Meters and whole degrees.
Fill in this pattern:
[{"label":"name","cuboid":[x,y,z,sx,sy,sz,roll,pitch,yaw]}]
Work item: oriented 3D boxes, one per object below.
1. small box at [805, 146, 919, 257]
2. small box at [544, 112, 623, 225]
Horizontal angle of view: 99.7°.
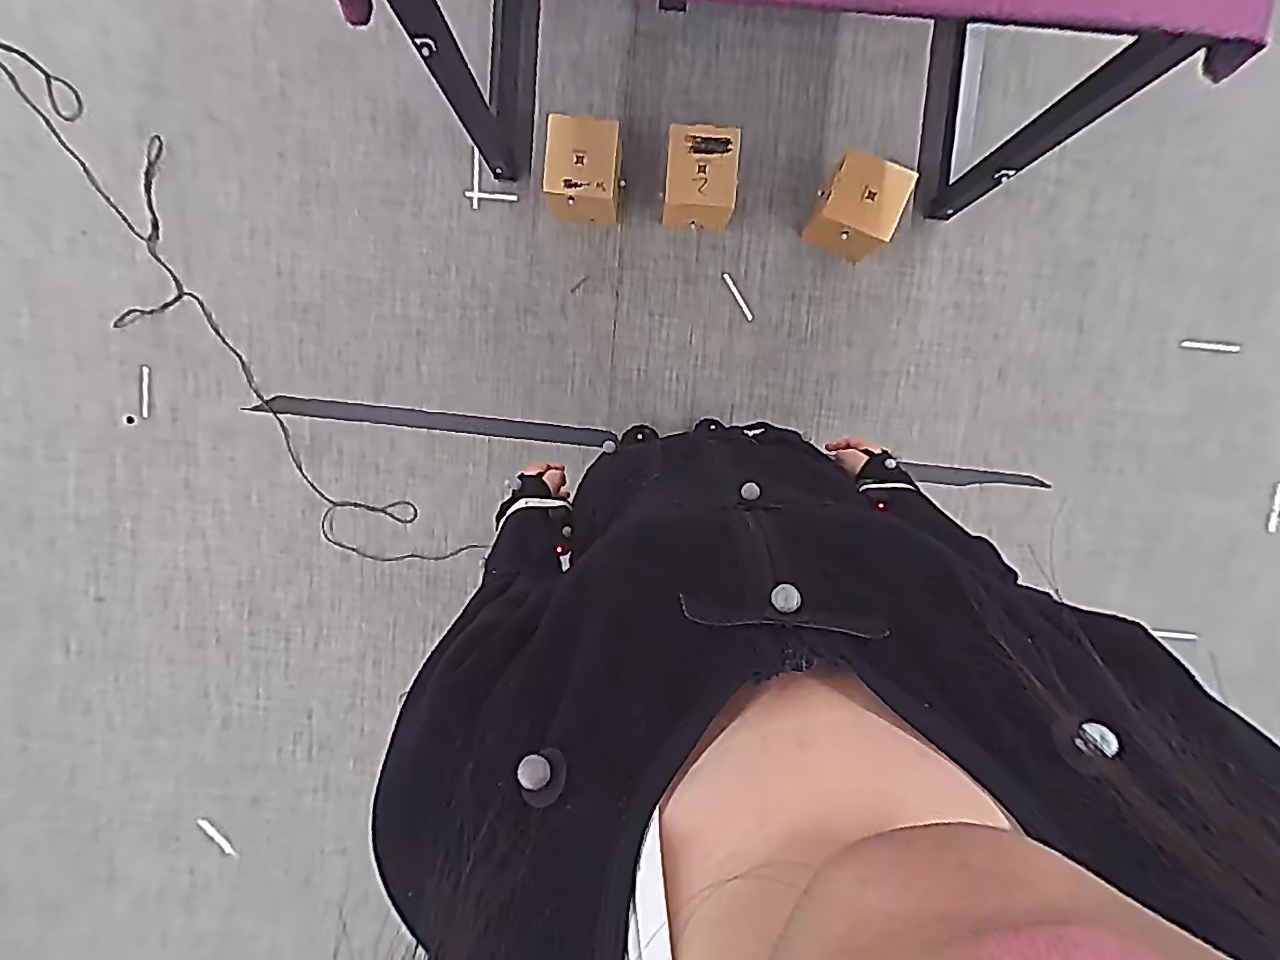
[{"label":"small box","cuboid":[0.537,-0.673,1.332,0.179,0.176,0.168,22,97,-1]},{"label":"small box","cuboid":[-0.132,-0.755,1.327,0.168,0.176,0.179,7,95,0]}]
